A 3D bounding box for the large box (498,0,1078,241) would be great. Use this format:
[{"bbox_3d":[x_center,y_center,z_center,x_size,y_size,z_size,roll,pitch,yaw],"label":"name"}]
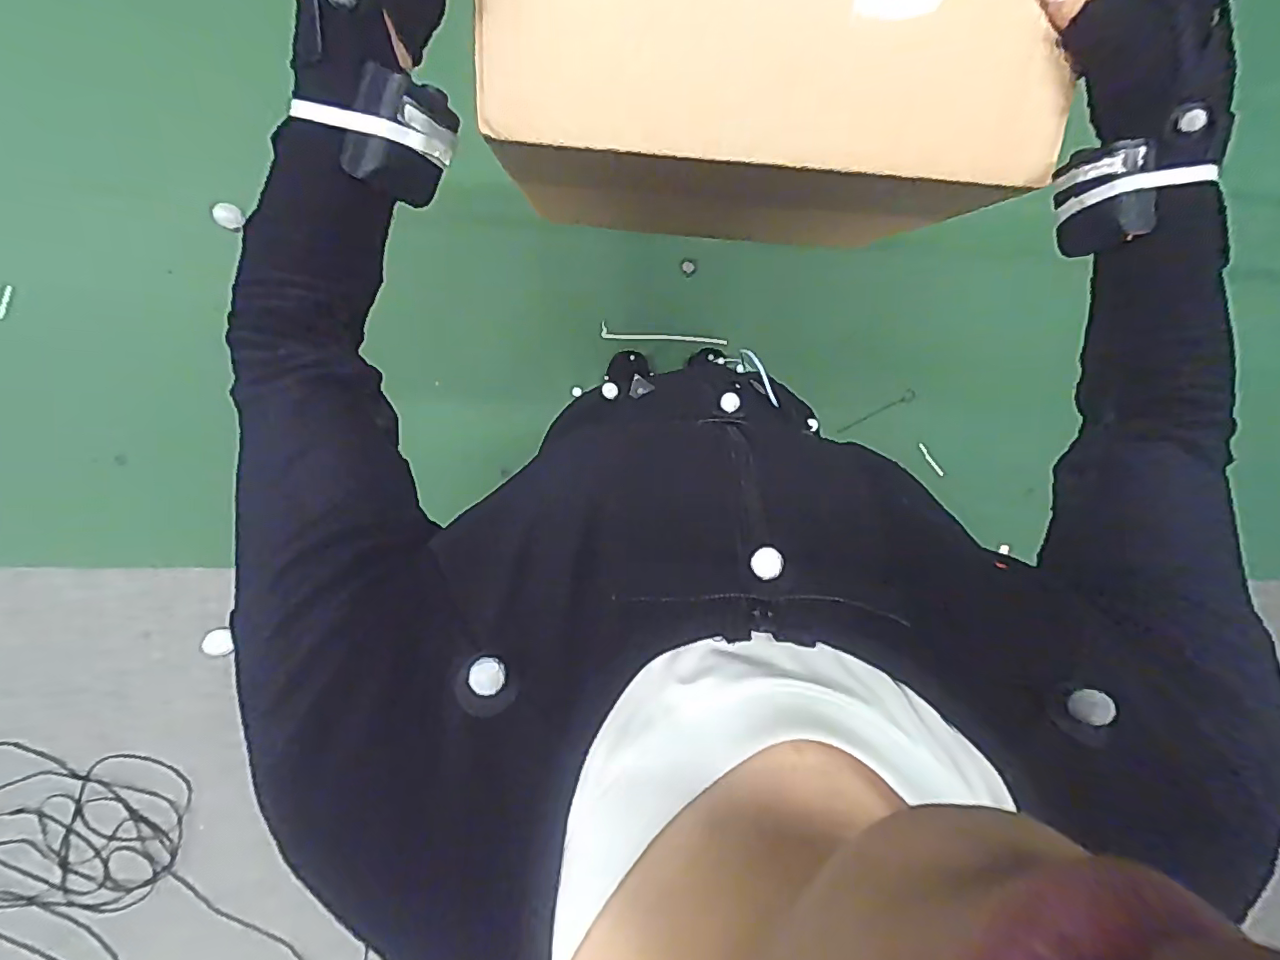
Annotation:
[{"bbox_3d":[0.096,-0.417,0.492,0.408,0.320,0.320,2,106,-5],"label":"large box"}]
